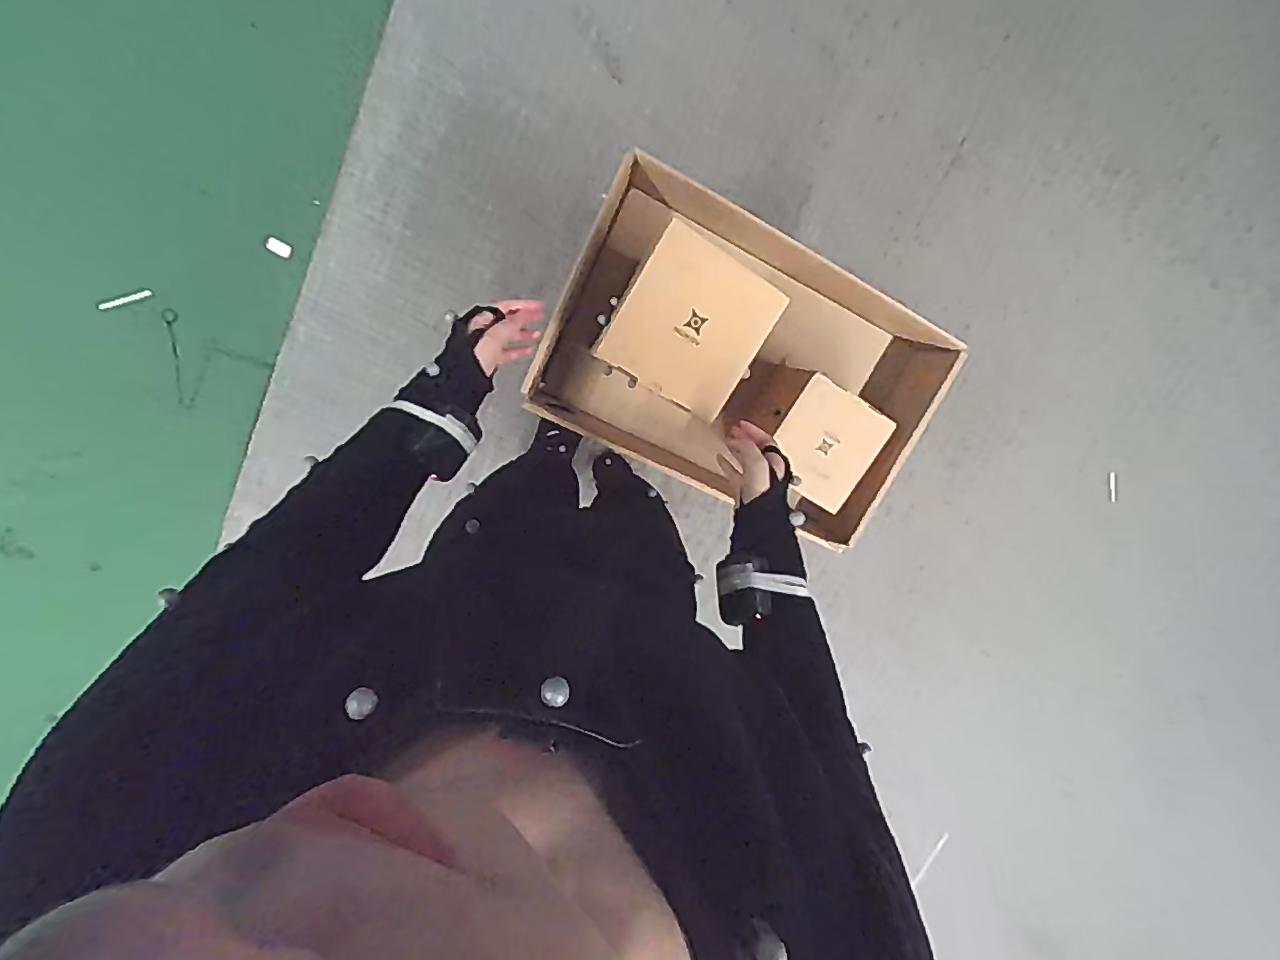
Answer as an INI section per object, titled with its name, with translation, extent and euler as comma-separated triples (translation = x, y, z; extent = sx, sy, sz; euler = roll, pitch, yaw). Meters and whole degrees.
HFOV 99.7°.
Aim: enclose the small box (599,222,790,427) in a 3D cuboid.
[small box]
translation = 0.055, -0.194, 0.701
extent = 0.168, 0.176, 0.179
euler = 30, 100, -12
